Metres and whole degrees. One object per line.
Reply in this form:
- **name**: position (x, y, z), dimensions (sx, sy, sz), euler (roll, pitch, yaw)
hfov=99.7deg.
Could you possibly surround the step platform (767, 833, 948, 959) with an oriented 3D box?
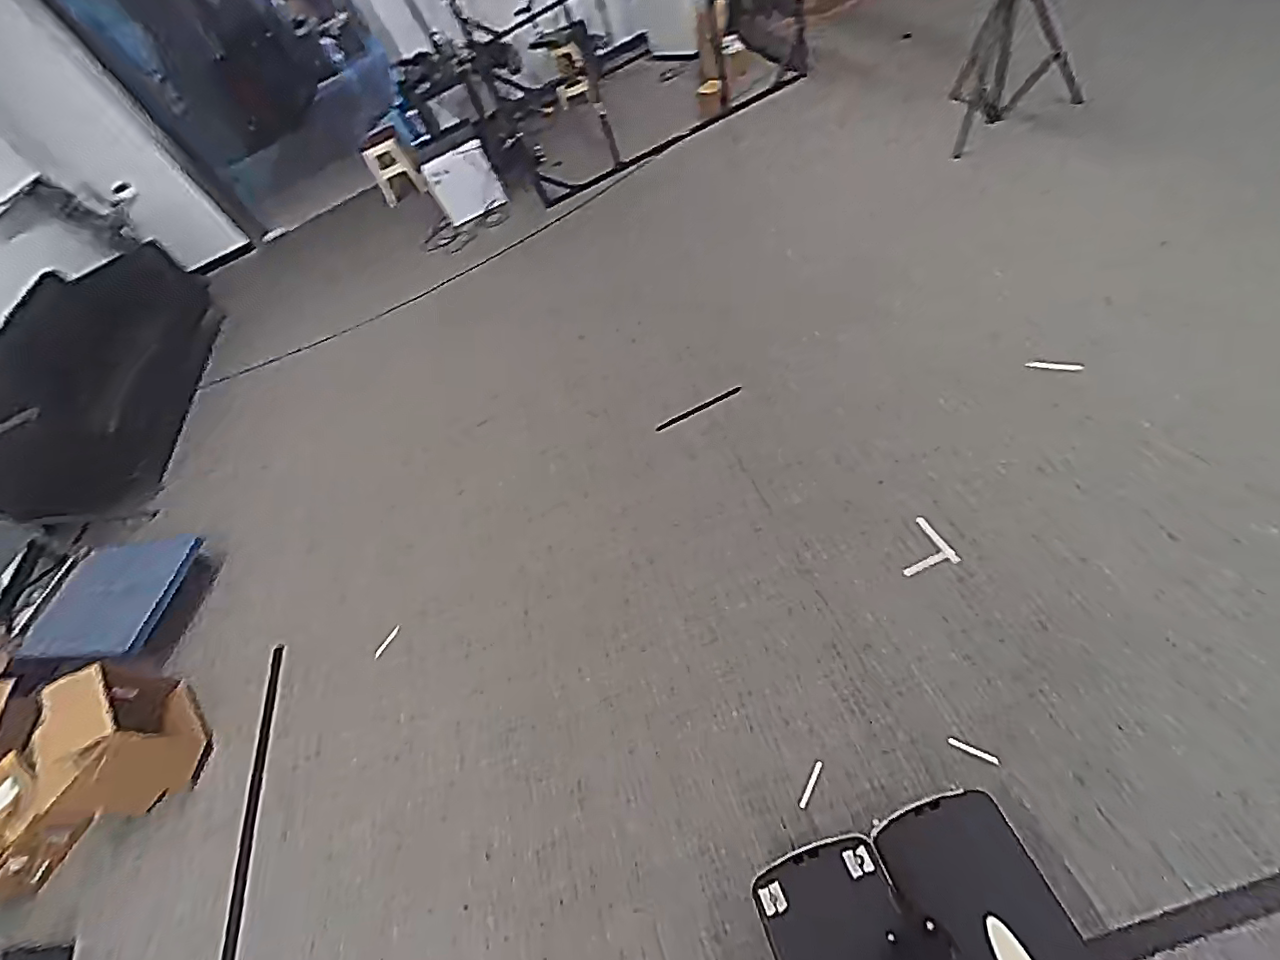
- **step platform**: position (0.506, 1.074, 1.009), dimensions (0.286, 0.204, 0.684), euler (-26, 49, 2)
